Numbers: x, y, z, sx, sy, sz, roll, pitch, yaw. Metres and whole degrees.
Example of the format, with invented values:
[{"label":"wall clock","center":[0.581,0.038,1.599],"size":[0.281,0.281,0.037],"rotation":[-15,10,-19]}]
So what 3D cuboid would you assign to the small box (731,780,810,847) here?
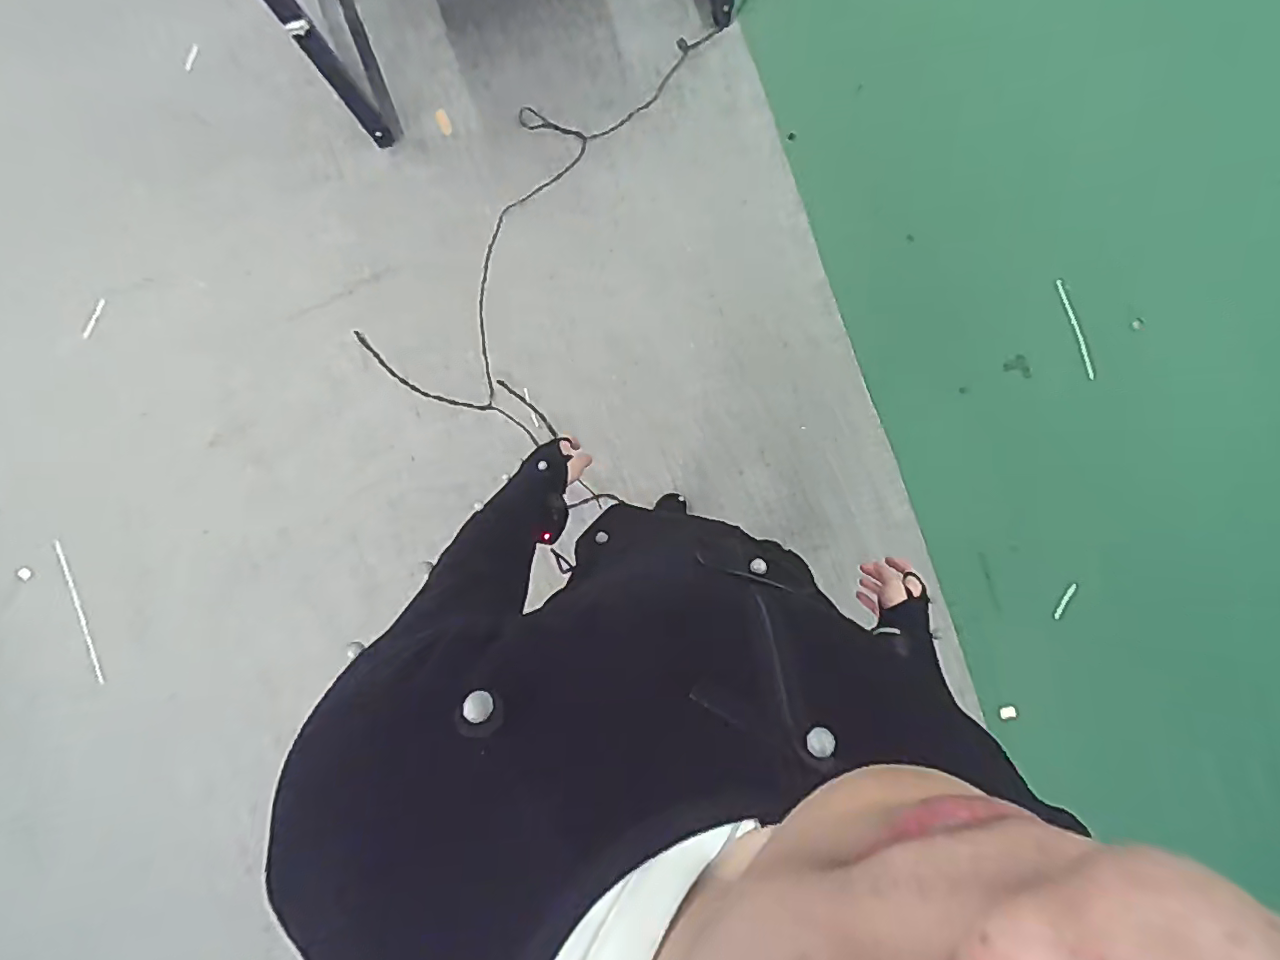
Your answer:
[{"label":"small box","center":[0.359,0.949,1.466],"size":[0.179,0.176,0.168],"rotation":[-18,87,3]}]
